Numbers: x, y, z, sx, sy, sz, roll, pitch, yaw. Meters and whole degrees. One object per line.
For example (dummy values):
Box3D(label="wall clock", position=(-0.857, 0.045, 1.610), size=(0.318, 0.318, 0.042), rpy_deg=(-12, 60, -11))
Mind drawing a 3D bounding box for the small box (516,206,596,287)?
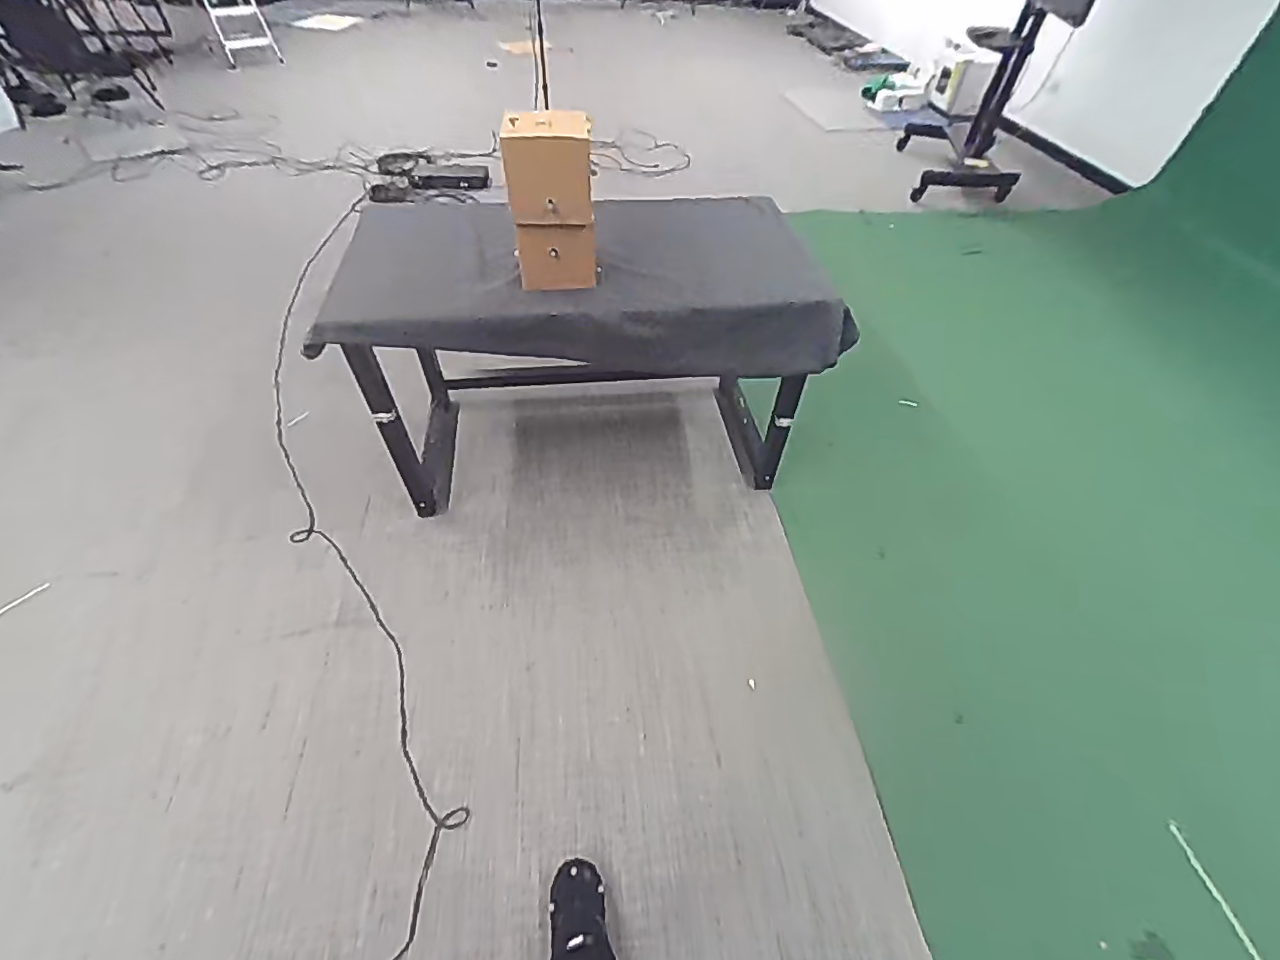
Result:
Box3D(label="small box", position=(-0.196, -0.578, 1.290), size=(0.179, 0.176, 0.168), rpy_deg=(-5, 49, -5))

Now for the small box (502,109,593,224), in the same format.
Box3D(label="small box", position=(-0.192, -0.667, 1.154), size=(0.179, 0.176, 0.168), rpy_deg=(-5, 51, -6))
